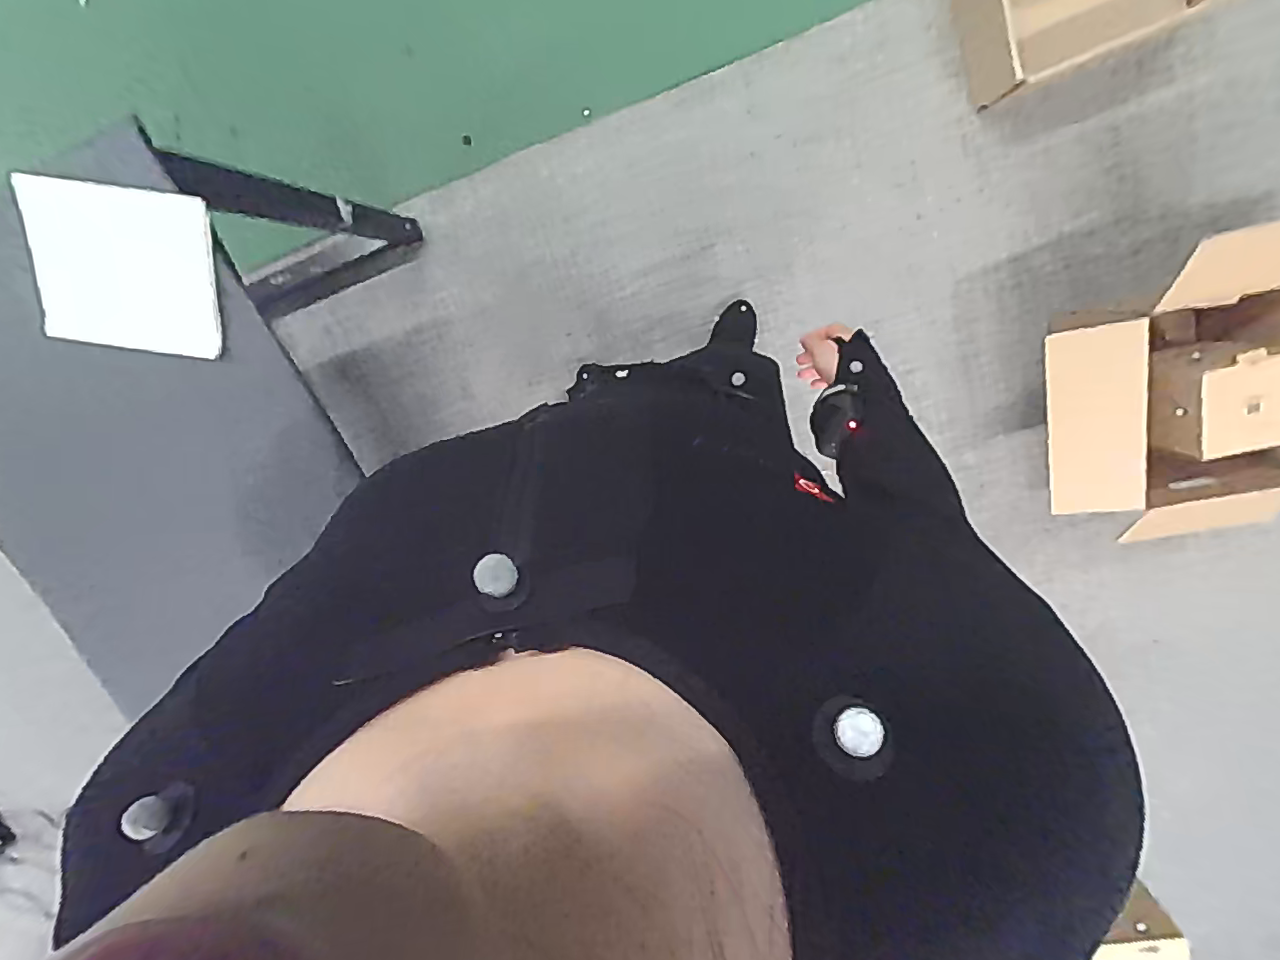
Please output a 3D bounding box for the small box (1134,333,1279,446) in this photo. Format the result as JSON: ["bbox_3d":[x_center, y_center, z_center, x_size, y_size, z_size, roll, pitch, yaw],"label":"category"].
[{"bbox_3d":[1.136,-0.187,1.077,0.168,0.176,0.179,-15,107,12],"label":"small box"}]
